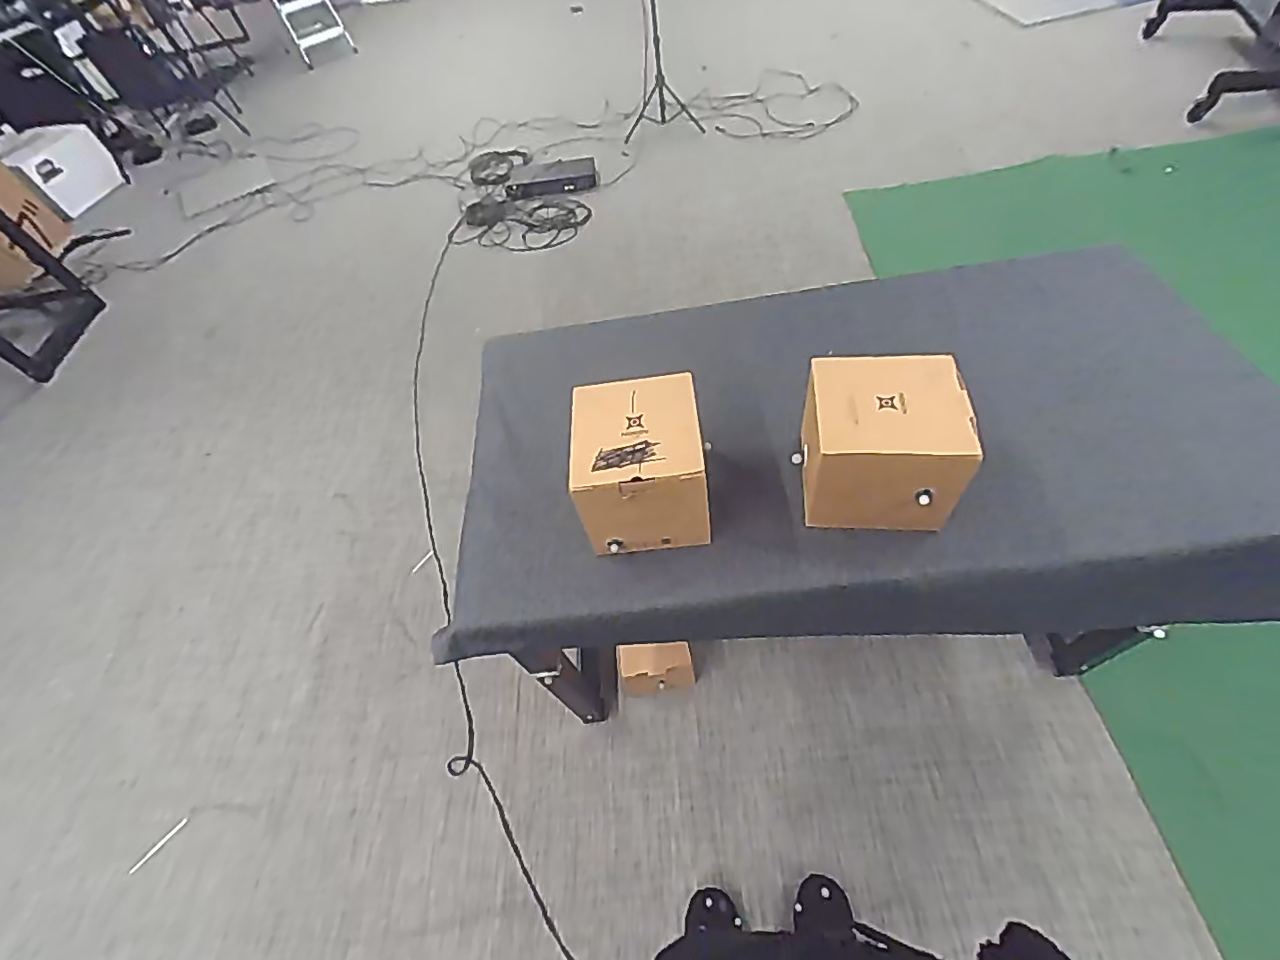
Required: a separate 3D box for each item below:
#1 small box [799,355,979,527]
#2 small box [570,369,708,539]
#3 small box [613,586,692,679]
[{"bbox_3d":[0.316,-0.048,0.727,0.179,0.176,0.168,1,55,11],"label":"small box"},{"bbox_3d":[0.005,-0.027,0.757,0.168,0.176,0.179,-5,54,5],"label":"small box"},{"bbox_3d":[0.034,0.391,1.360,0.168,0.176,0.179,-11,56,1],"label":"small box"}]
